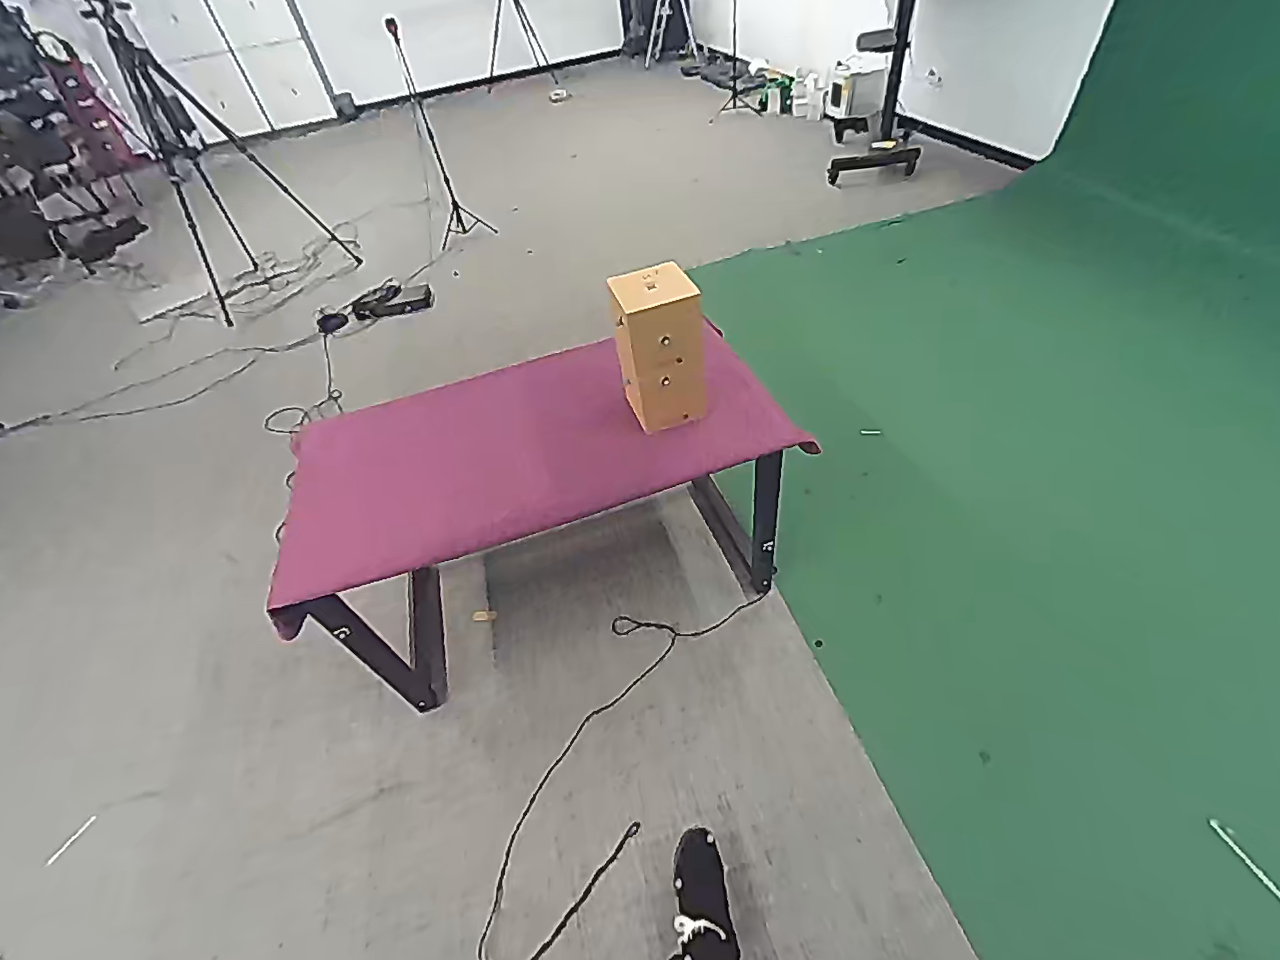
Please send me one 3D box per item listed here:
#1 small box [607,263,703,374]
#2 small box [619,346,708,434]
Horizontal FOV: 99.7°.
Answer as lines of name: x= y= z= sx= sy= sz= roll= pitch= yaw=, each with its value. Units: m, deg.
small box: x=0.037 y=-0.357 z=1.217 sx=0.168 sy=0.176 sz=0.179 roll=-17 pitch=46 yaw=-6
small box: x=0.060 y=-0.244 z=1.335 sx=0.168 sy=0.176 sz=0.179 roll=-19 pitch=46 yaw=-6
